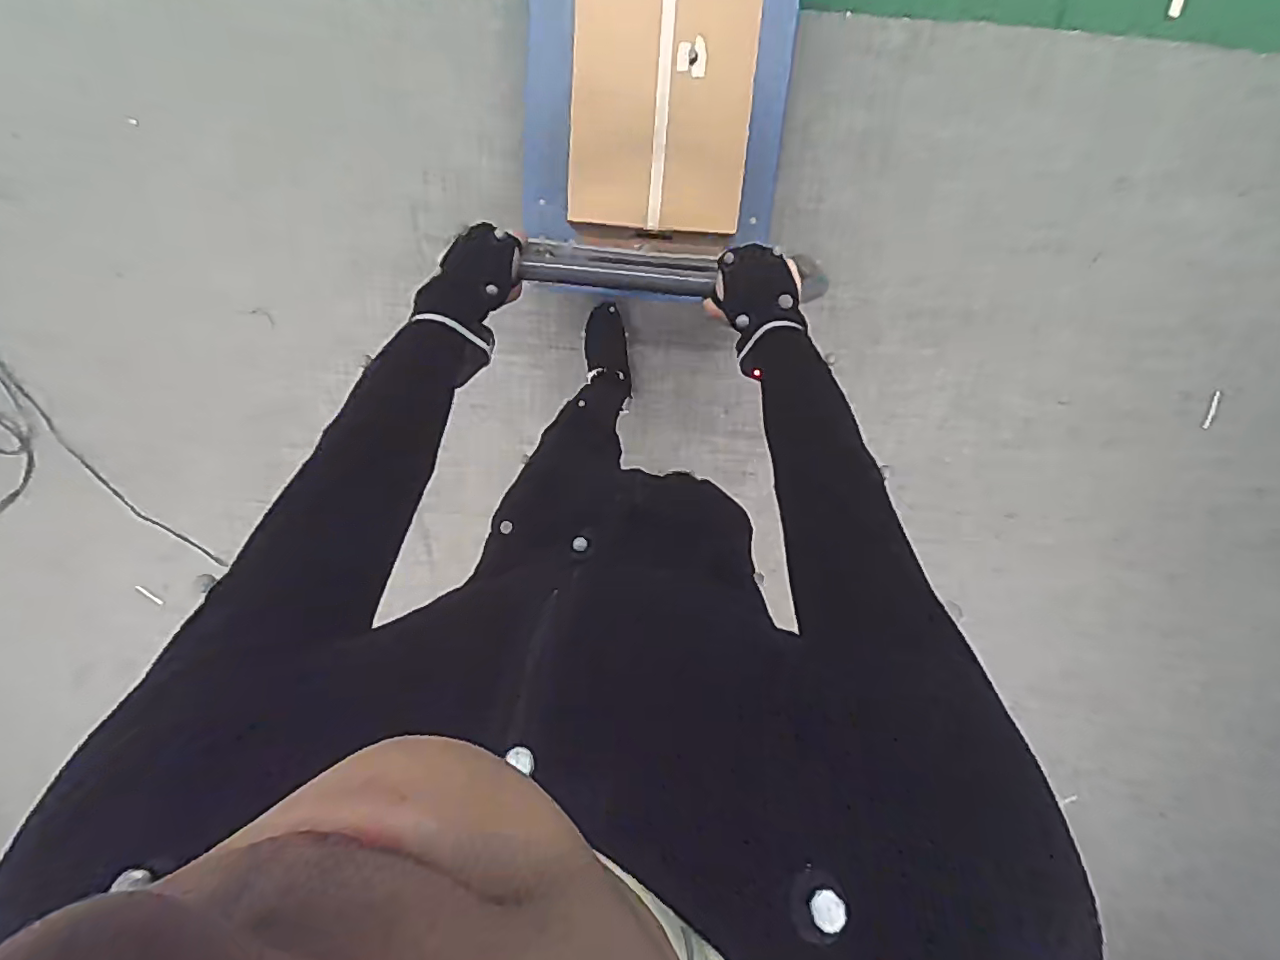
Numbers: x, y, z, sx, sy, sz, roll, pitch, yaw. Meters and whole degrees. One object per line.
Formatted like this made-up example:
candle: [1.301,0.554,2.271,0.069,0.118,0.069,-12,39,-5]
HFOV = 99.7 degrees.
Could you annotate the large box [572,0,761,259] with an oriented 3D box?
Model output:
large box: [0.045,-0.688,1.097,0.320,0.320,0.408,5,104,0]
